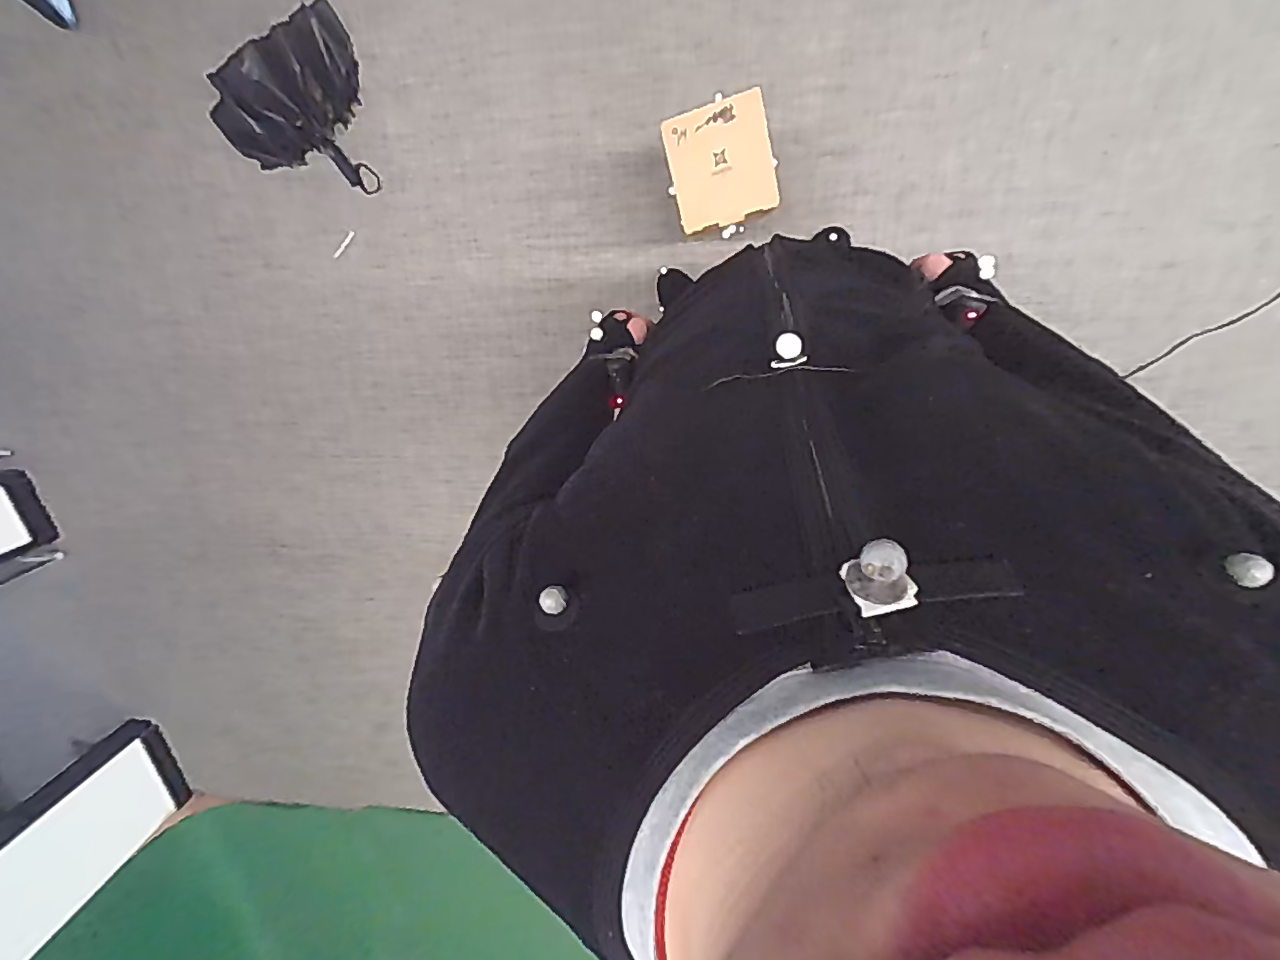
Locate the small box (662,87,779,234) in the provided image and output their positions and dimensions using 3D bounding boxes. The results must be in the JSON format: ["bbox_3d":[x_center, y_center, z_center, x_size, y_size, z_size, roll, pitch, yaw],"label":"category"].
[{"bbox_3d":[0.146,-0.550,0.954,0.168,0.176,0.179,-11,112,14],"label":"small box"}]
